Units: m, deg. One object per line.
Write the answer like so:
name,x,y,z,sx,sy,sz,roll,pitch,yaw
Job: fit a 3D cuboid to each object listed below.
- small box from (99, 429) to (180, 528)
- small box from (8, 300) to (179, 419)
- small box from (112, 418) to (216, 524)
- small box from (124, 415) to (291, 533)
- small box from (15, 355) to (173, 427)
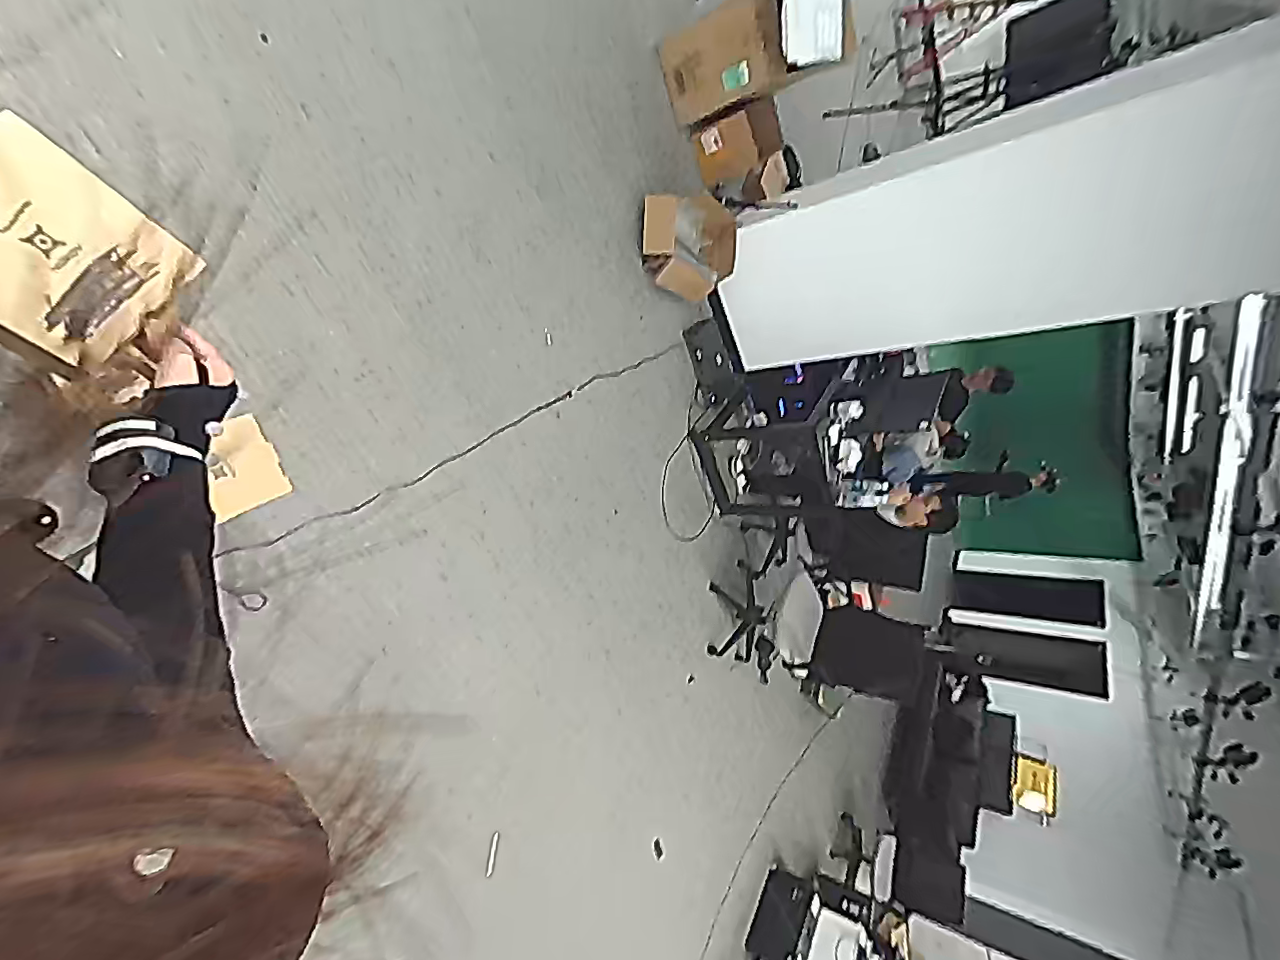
small box,-1.075,-0.010,1.238,0.179,0.176,0.168,-48,124,-40
small box,-1.033,-0.223,1.027,0.168,0.176,0.179,-39,118,-45
small box,-0.949,-0.011,1.136,0.168,0.176,0.179,-47,124,-41
small box,-0.822,-0.014,1.031,0.179,0.176,0.168,-39,118,-46
small box,-1.151,-0.224,1.142,0.179,0.176,0.168,-43,121,-42
